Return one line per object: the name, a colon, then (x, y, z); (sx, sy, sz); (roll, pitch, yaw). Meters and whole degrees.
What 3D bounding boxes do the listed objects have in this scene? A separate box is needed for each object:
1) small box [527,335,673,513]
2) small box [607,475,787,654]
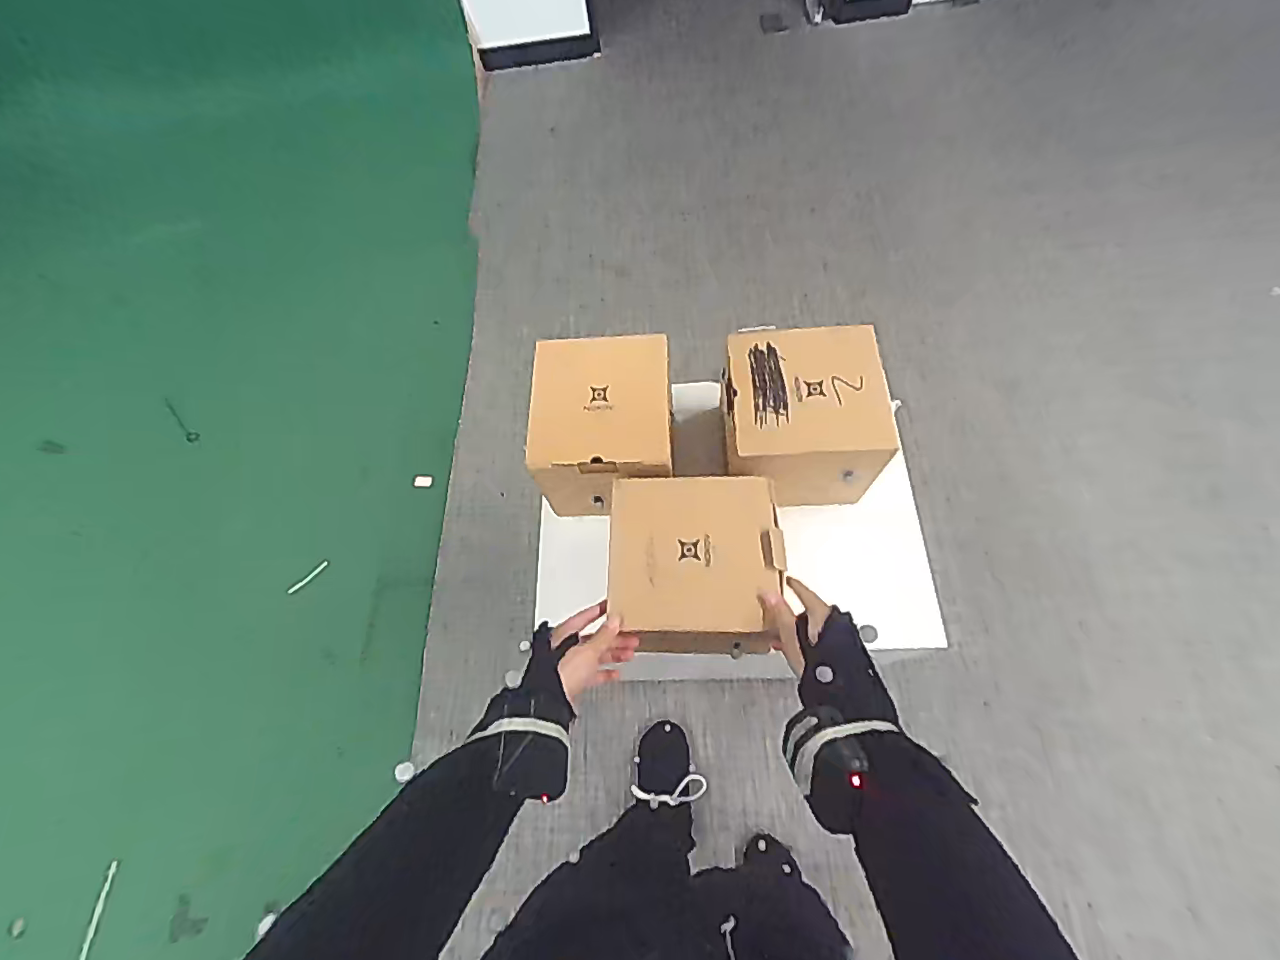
small box: (-0.041, -0.067, 0.709); (0.168, 0.176, 0.179); (-2, 67, 4)
small box: (0.063, 0.104, 0.624); (0.179, 0.176, 0.168); (-2, 65, 6)
